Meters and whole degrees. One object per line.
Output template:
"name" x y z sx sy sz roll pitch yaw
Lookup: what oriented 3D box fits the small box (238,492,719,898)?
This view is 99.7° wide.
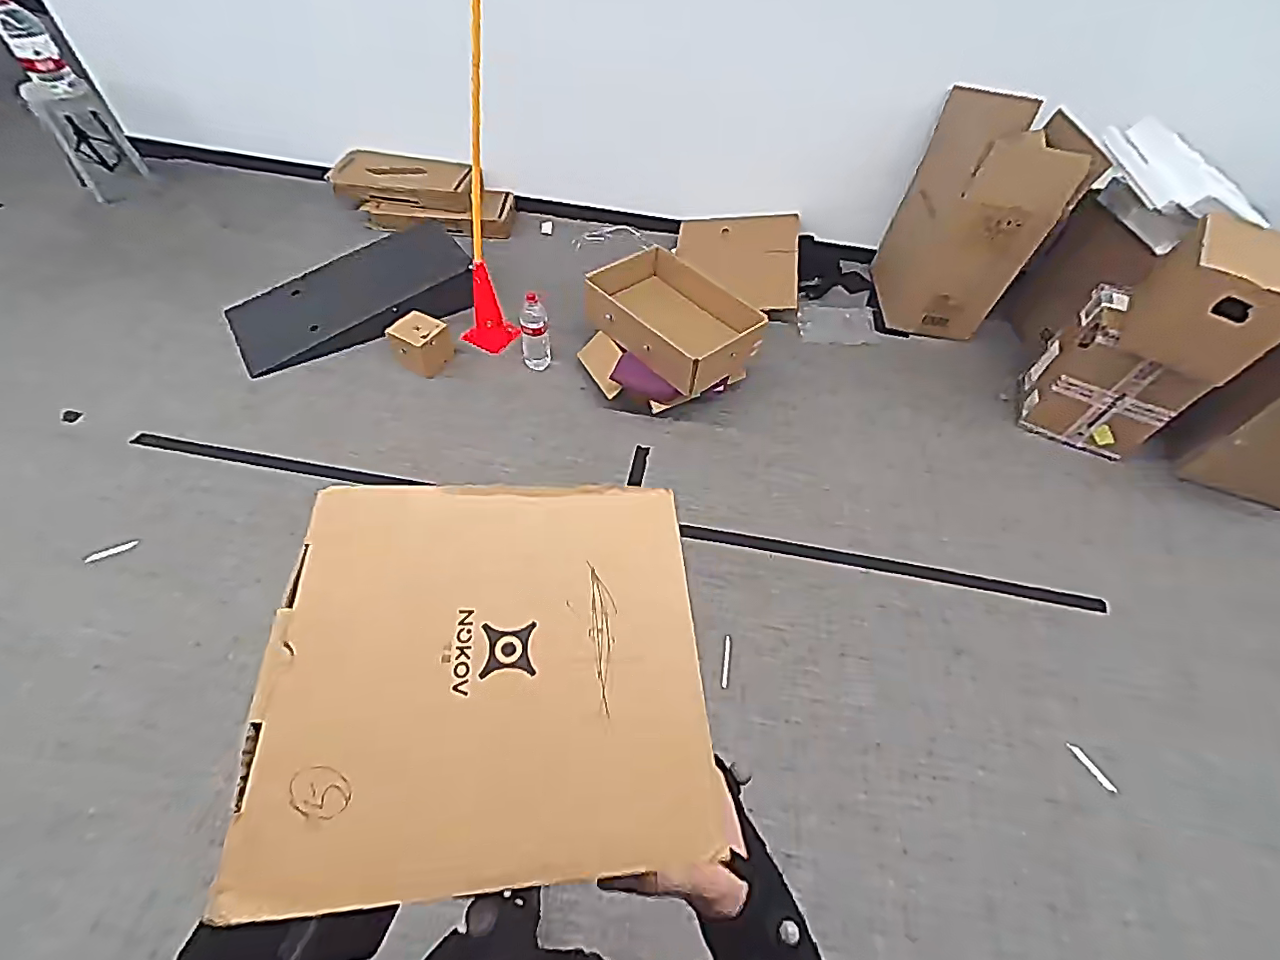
"small box" -0.073 0.120 0.307 0.179 0.176 0.168 0 57 -12
